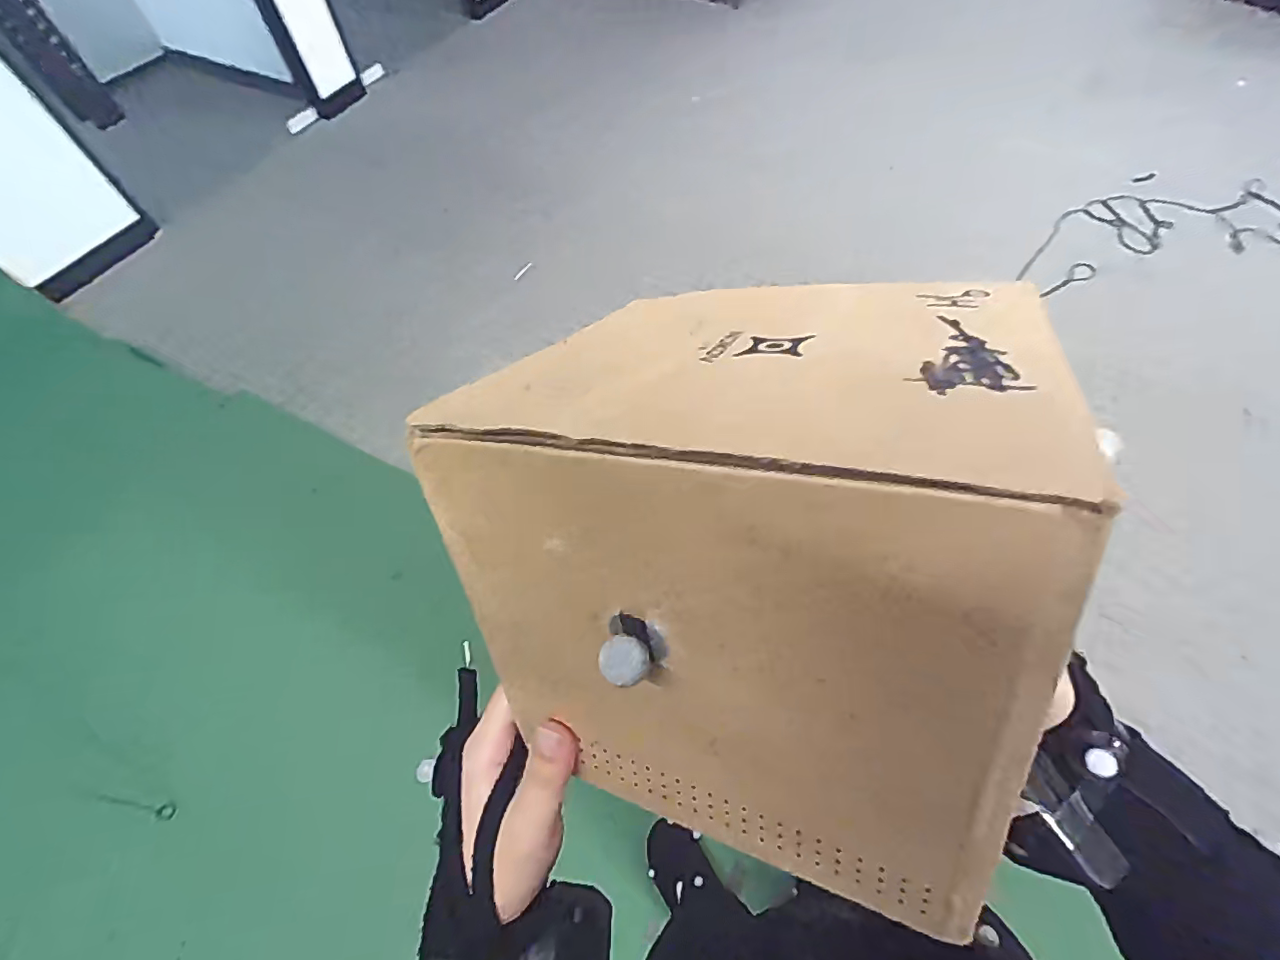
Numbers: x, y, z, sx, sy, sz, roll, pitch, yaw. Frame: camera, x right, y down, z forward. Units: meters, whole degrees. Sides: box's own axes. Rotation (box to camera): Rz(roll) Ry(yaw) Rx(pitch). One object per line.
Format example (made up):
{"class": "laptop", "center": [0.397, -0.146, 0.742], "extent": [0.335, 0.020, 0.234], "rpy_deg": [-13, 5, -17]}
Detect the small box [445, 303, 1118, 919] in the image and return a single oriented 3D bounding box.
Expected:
{"class": "small box", "center": [0.059, 0.034, 0.232], "extent": [0.179, 0.176, 0.168], "rpy_deg": [6, 34, 28]}
